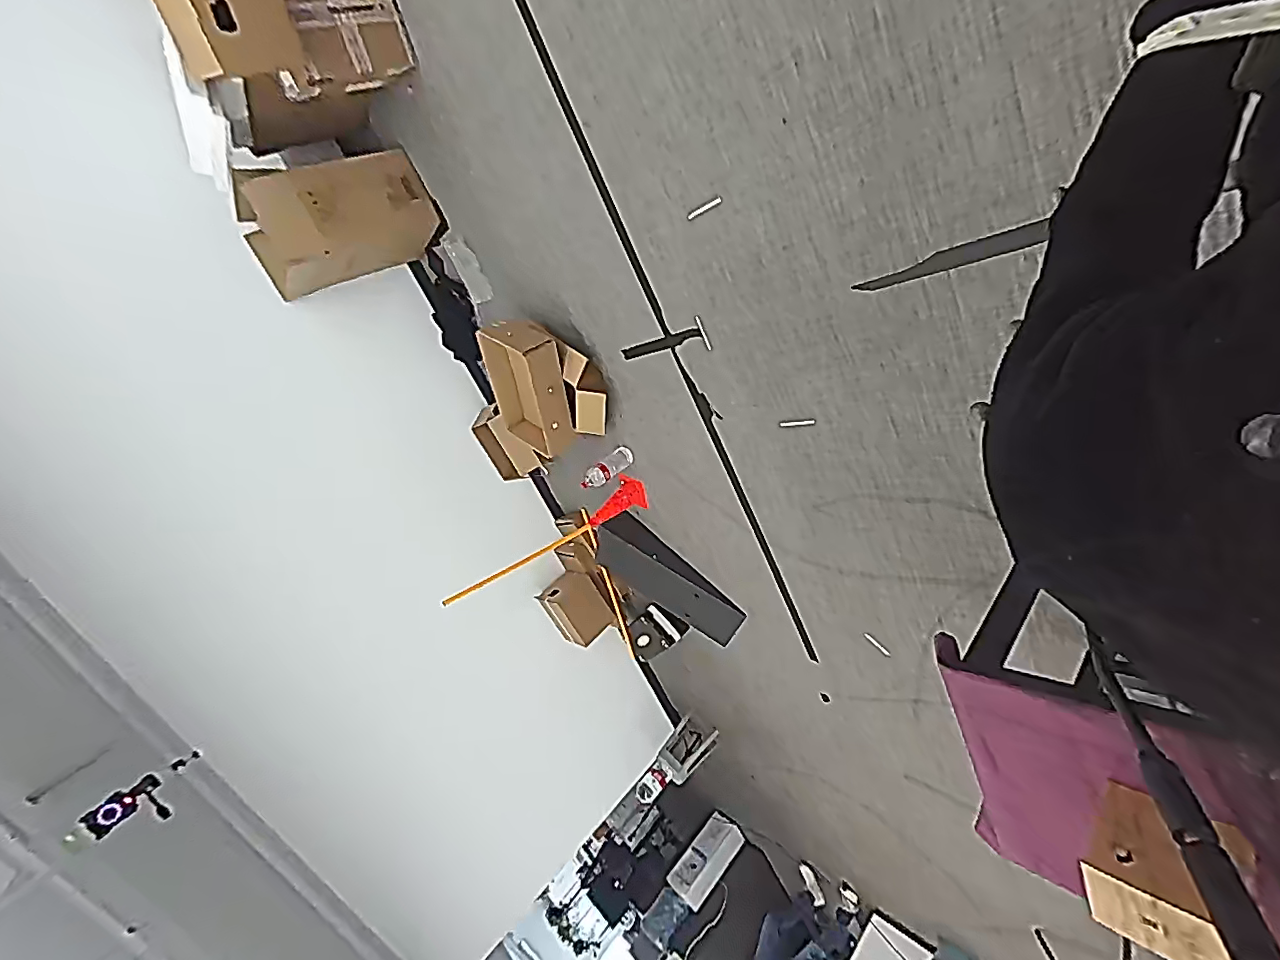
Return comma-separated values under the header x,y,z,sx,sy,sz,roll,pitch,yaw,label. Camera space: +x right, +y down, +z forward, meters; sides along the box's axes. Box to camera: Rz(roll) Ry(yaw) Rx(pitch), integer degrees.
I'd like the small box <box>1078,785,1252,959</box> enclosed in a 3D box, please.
x,y,z,sx,sy,sz,roll,pitch,yaw,label
0.848,0.635,0.873,0.179,0.176,0.168,3,125,53,small box
